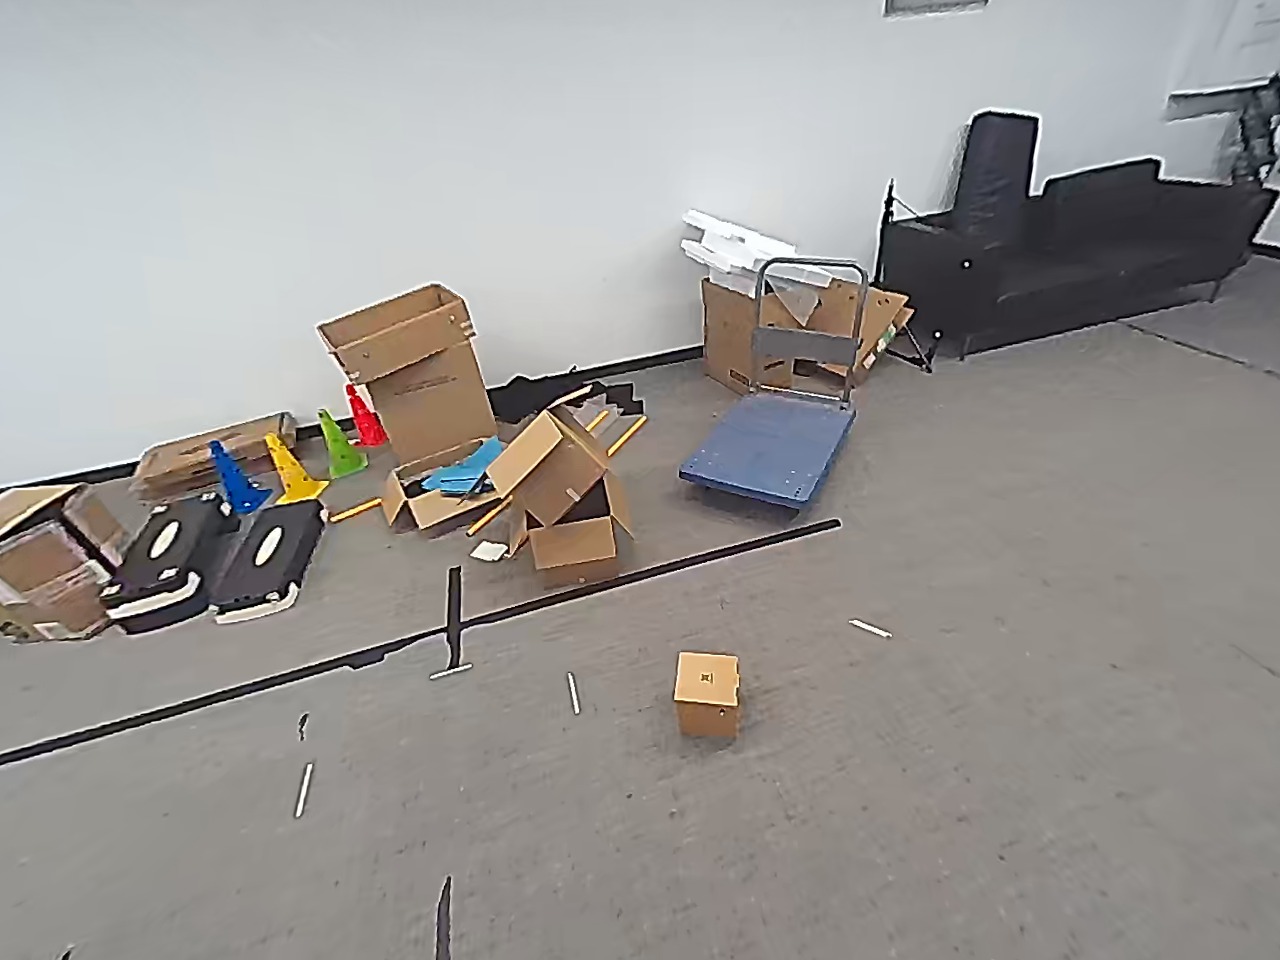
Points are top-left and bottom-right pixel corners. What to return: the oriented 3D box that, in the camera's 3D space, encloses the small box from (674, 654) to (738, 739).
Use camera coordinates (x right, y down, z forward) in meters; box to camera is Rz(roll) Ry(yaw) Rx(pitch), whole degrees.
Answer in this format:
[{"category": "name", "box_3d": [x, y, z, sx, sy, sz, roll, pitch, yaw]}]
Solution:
[{"category": "small box", "box_3d": [0.198, 0.638, 1.594, 0.179, 0.176, 0.168, 1, 35, 10]}]
